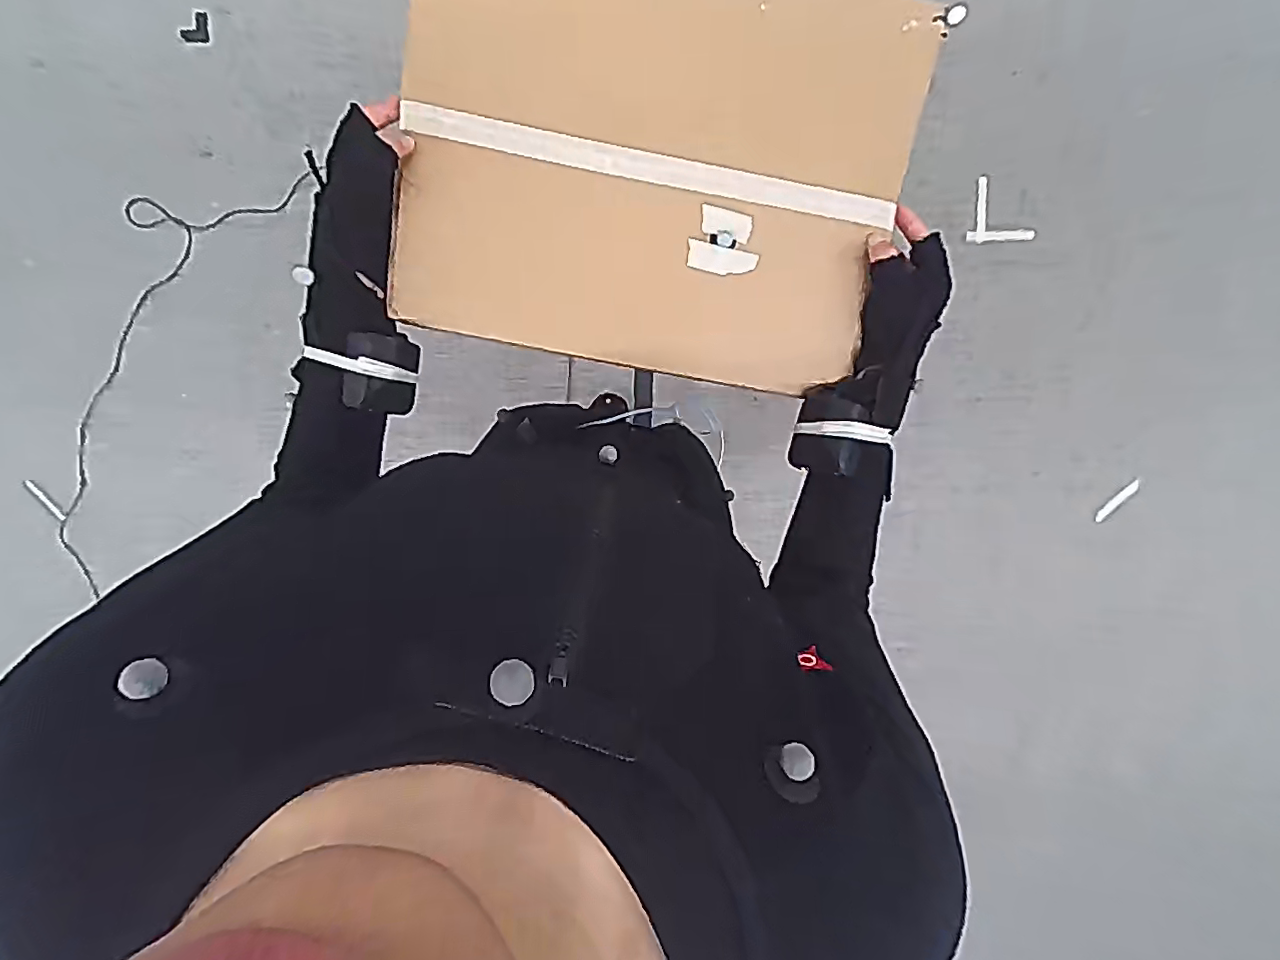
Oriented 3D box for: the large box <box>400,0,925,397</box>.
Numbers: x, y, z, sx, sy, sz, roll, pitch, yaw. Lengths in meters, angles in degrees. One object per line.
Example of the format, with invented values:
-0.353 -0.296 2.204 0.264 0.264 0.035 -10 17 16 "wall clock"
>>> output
0.003 -0.283 0.593 0.408 0.320 0.320 9 103 -5 "large box"
